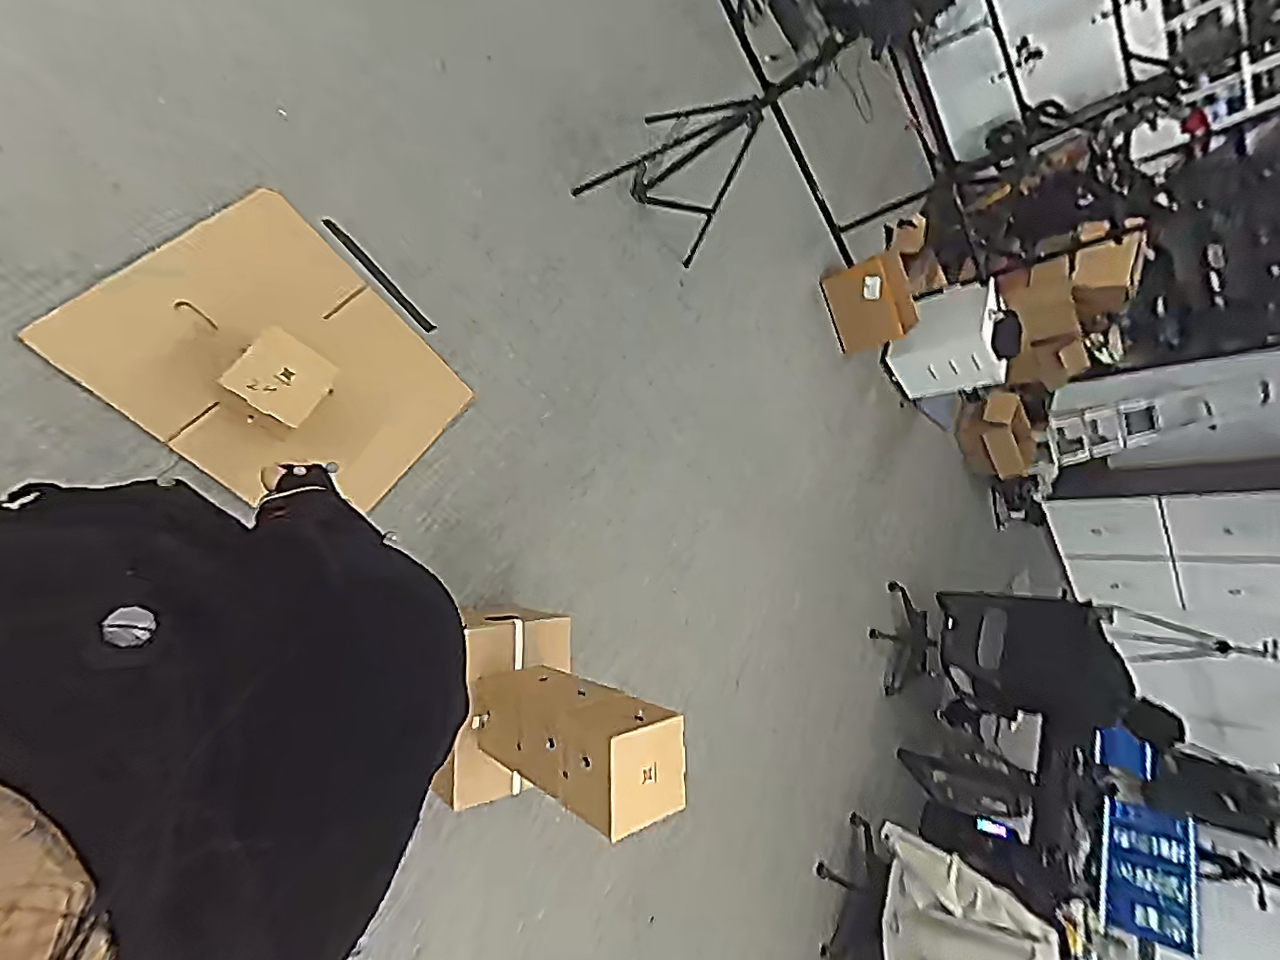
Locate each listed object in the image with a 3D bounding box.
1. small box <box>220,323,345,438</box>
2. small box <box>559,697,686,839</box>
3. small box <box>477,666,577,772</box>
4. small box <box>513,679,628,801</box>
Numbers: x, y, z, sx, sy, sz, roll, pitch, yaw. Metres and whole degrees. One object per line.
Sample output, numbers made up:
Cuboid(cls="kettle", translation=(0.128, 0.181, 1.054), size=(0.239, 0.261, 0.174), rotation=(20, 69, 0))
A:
Cuboid(cls="small box", translation=(-0.812, -0.217, 1.222), size=(0.168, 0.176, 0.179), rotation=(40, 62, -29))
Cuboid(cls="small box", translation=(-0.037, 0.515, 0.996), size=(0.179, 0.176, 0.168), rotation=(4, 83, -41))
Cuboid(cls="small box", translation=(-0.253, 0.536, 1.241), size=(0.179, 0.176, 0.168), rotation=(4, 83, -40))
Cuboid(cls="small box", translation=(-0.143, 0.523, 1.120), size=(0.179, 0.176, 0.168), rotation=(5, 82, -42))
